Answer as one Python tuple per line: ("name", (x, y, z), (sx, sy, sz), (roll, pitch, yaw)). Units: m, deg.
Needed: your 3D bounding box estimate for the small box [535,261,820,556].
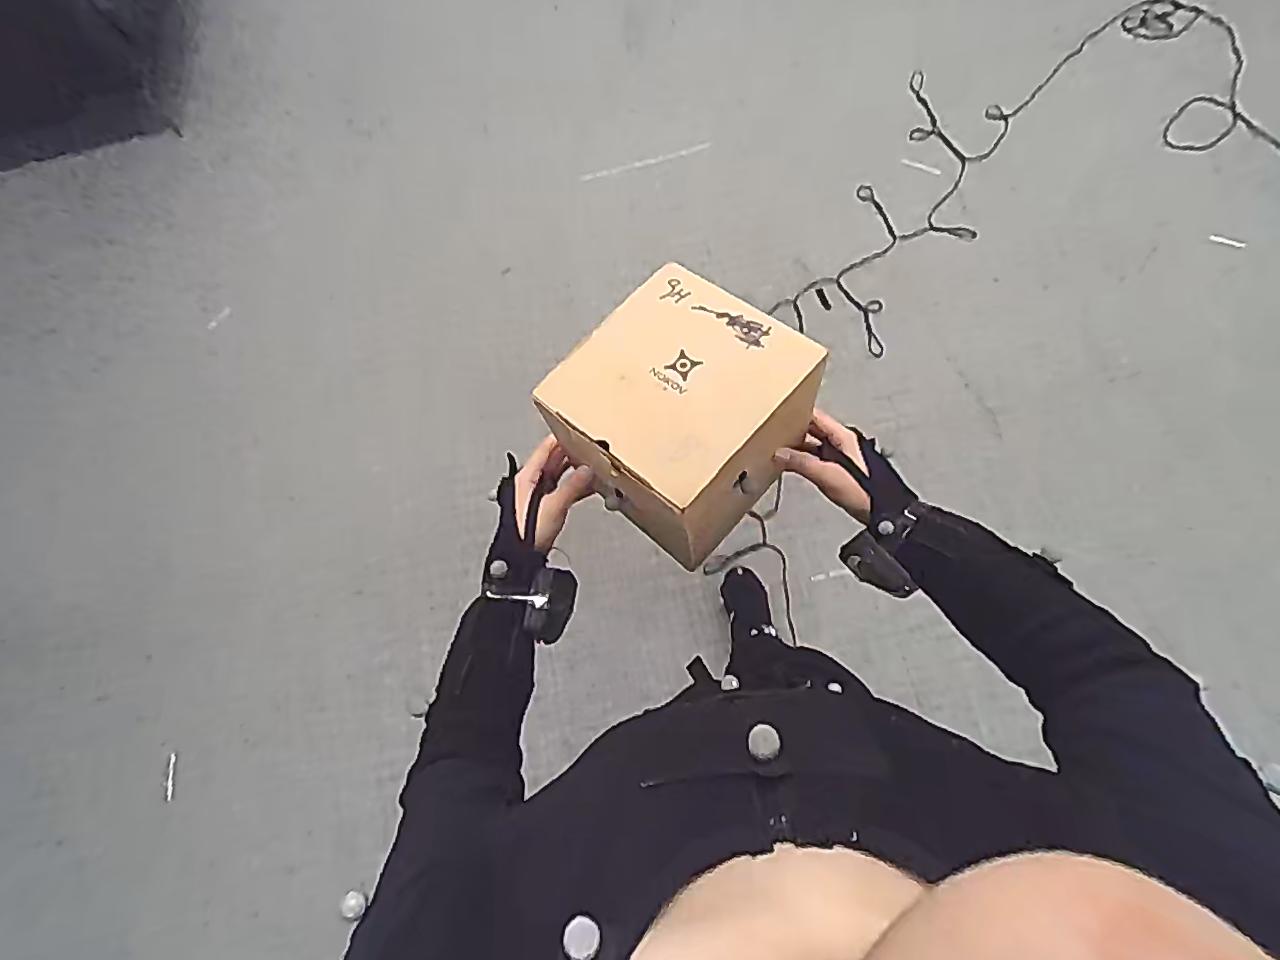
("small box", (0.040, -0.055, 0.503), (0.168, 0.176, 0.179), (38, 77, 22))
